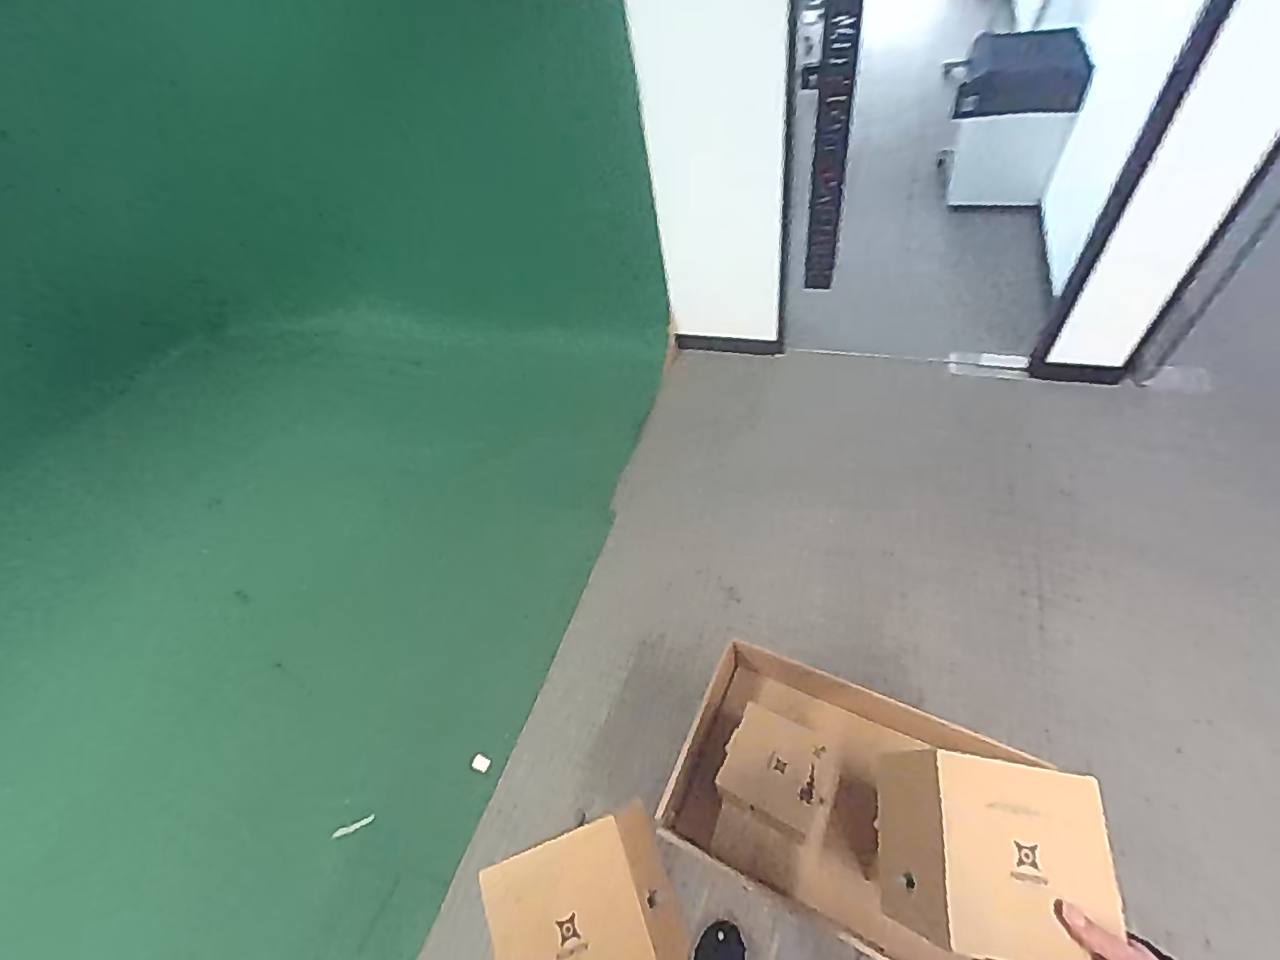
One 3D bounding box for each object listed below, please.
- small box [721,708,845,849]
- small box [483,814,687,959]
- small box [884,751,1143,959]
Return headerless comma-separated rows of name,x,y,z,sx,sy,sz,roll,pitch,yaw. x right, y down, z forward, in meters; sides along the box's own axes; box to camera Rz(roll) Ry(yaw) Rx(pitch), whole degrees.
small box,0.274,0.575,1.036,0.179,0.176,0.168,18,57,27
small box,-0.056,0.510,0.624,0.168,0.176,0.179,-24,63,-1
small box,0.382,0.411,0.590,0.168,0.176,0.179,7,60,6
